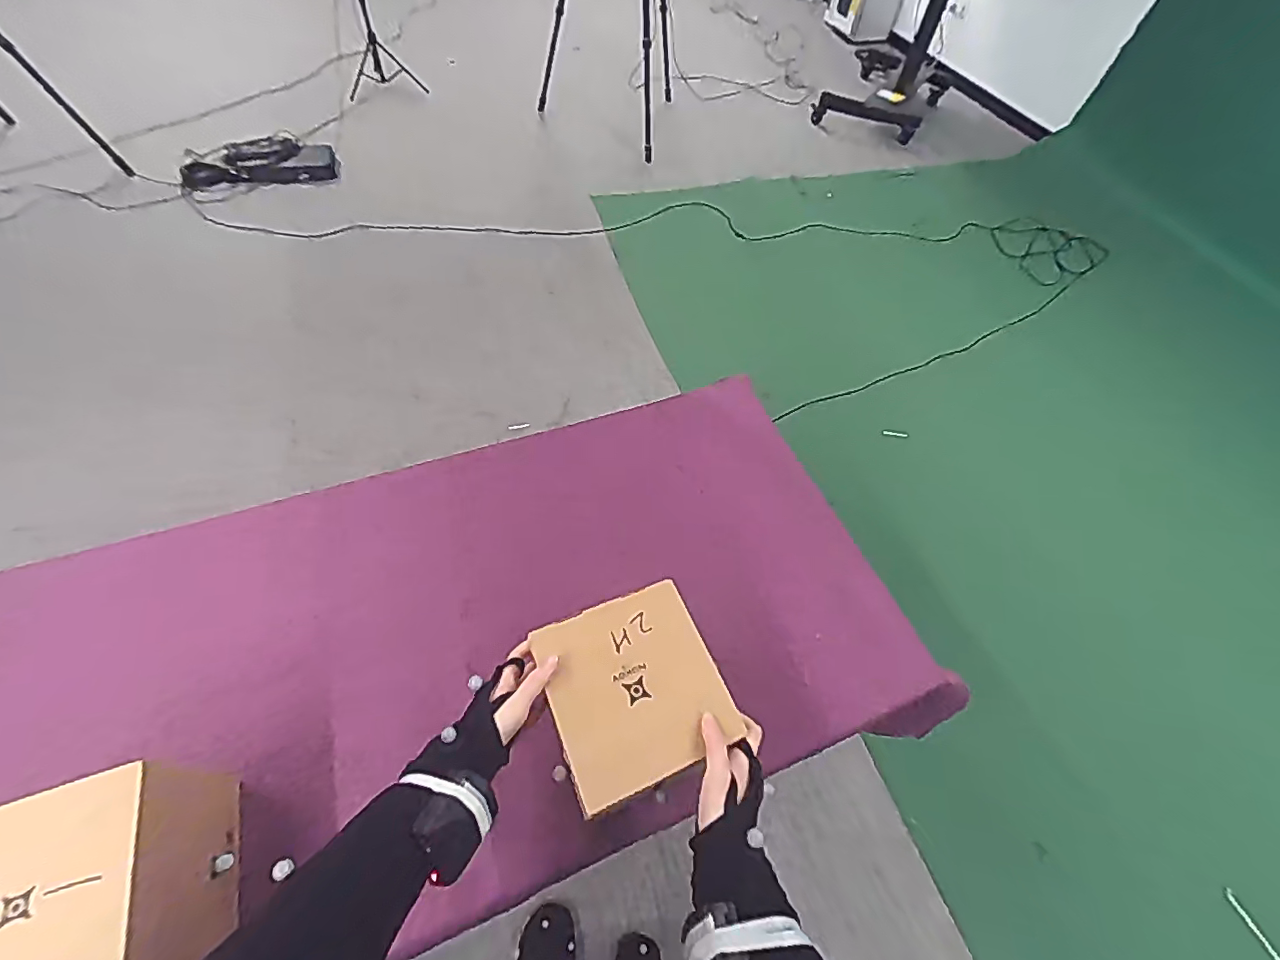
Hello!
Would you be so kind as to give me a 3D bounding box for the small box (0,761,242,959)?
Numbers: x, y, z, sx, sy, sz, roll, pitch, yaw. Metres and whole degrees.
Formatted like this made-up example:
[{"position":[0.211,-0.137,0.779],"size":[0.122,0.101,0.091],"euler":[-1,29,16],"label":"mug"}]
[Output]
[{"position":[-0.505,0.384,0.491],"size":[0.179,0.176,0.168],"euler":[-15,58,-16],"label":"small box"}]
